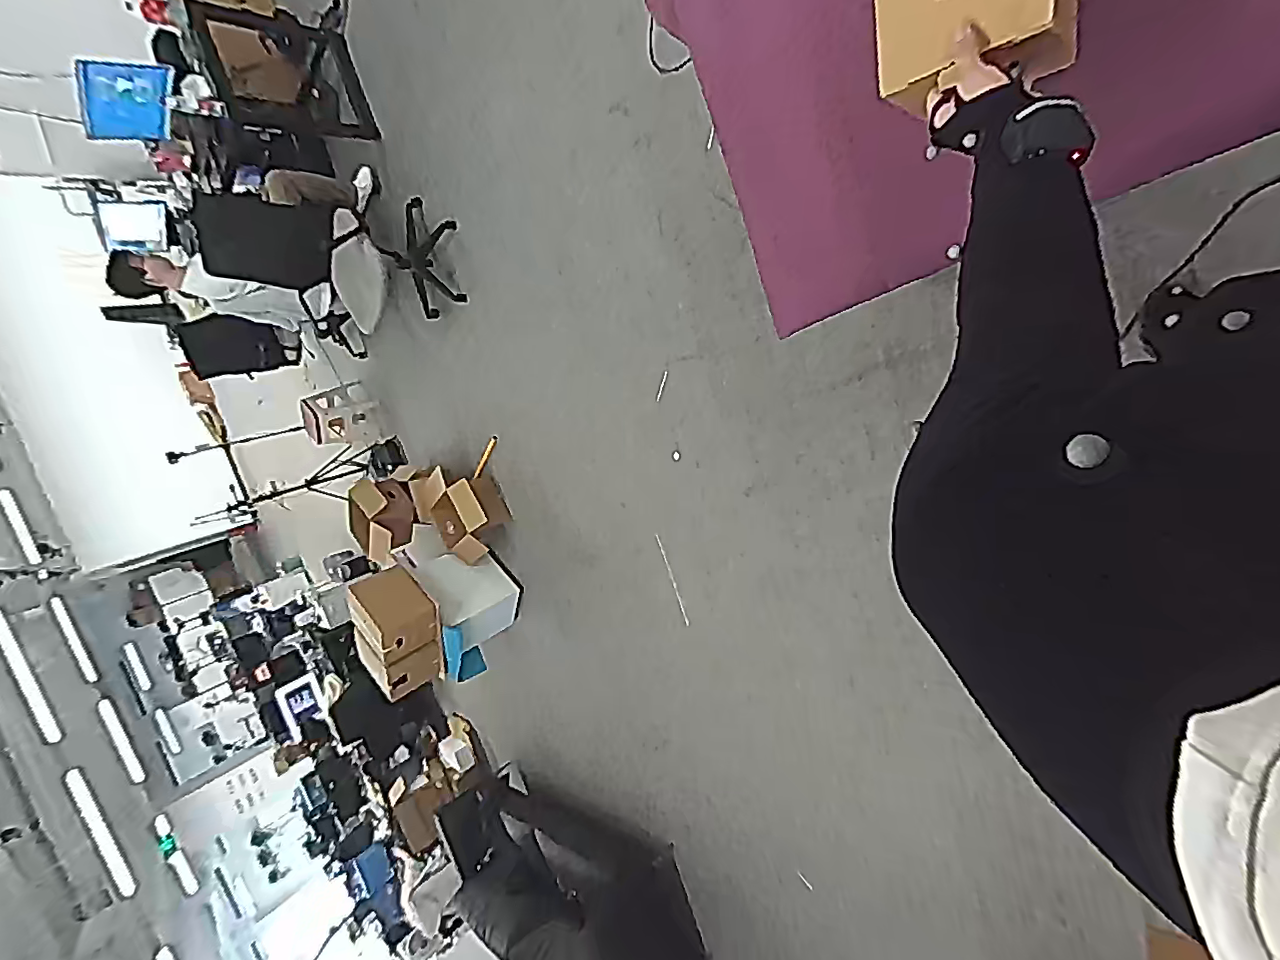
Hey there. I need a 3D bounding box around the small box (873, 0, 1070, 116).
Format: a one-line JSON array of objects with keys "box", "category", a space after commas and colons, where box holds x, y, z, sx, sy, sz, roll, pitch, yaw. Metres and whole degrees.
[{"box": [0.382, -0.548, 0.621, 0.168, 0.176, 0.179, 3, 109, 43], "category": "small box"}]
